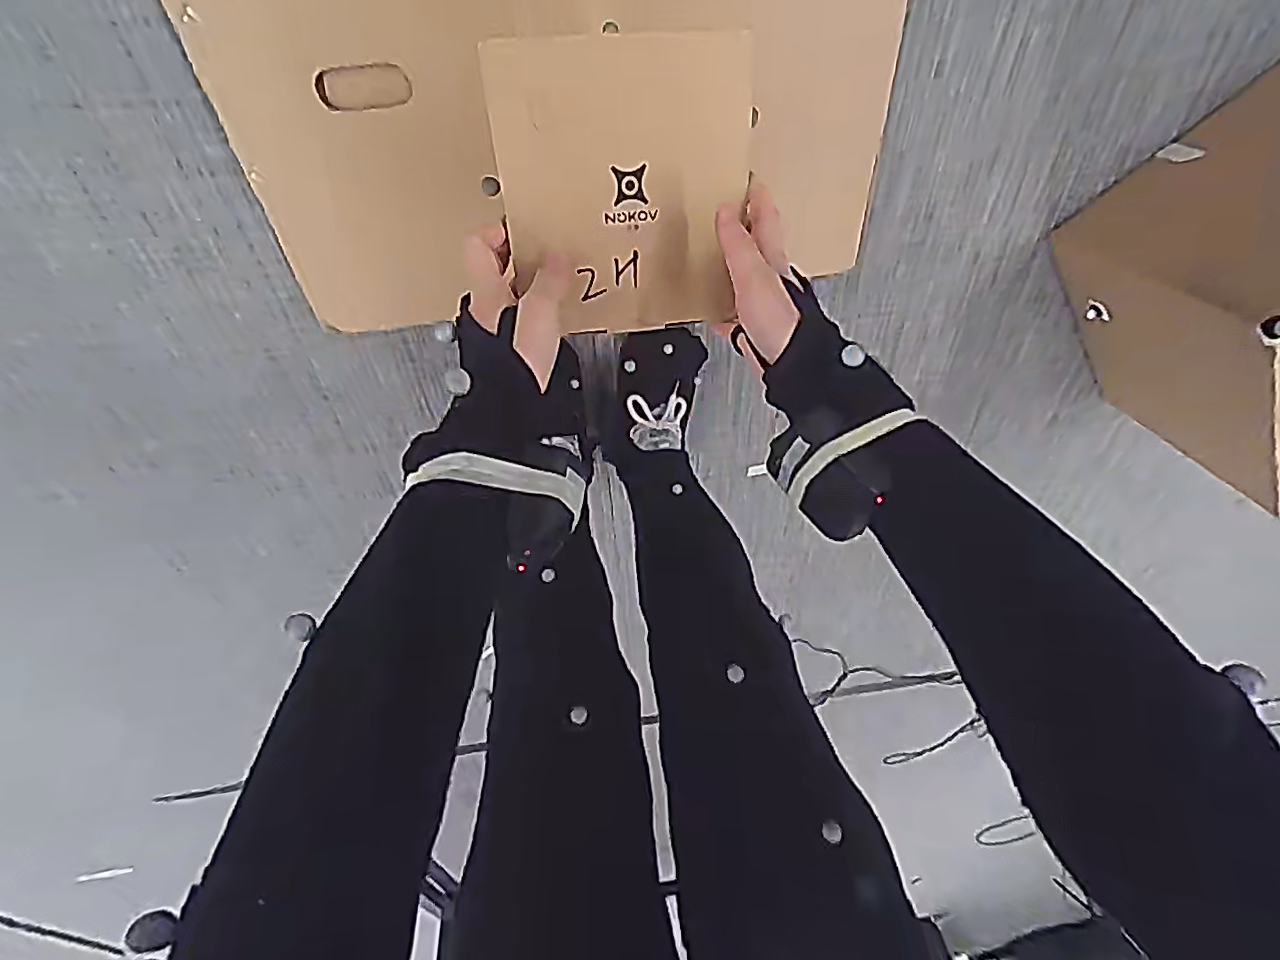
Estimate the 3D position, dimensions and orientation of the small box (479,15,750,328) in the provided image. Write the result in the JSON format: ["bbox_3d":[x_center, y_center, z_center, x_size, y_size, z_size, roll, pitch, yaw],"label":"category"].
[{"bbox_3d":[-0.023,-0.235,0.425,0.168,0.176,0.179,-7,124,-6],"label":"small box"}]
